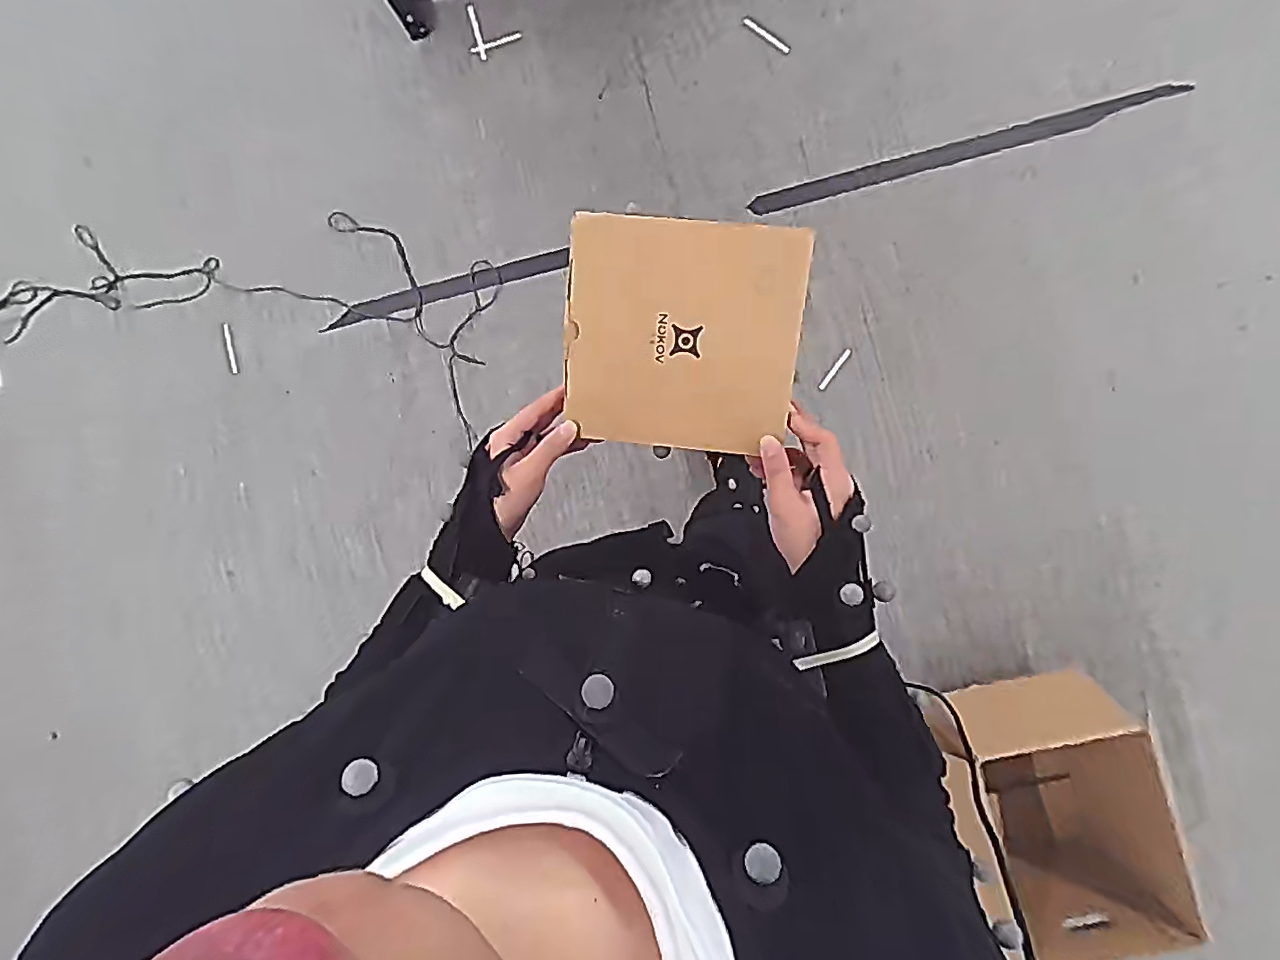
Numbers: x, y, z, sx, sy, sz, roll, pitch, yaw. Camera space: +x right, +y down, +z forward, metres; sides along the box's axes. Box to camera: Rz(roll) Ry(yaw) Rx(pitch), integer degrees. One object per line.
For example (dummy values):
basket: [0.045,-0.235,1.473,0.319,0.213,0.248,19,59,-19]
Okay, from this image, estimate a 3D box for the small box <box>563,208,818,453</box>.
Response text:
small box: [0.040,-0.127,0.475,0.179,0.176,0.168,6,105,6]
